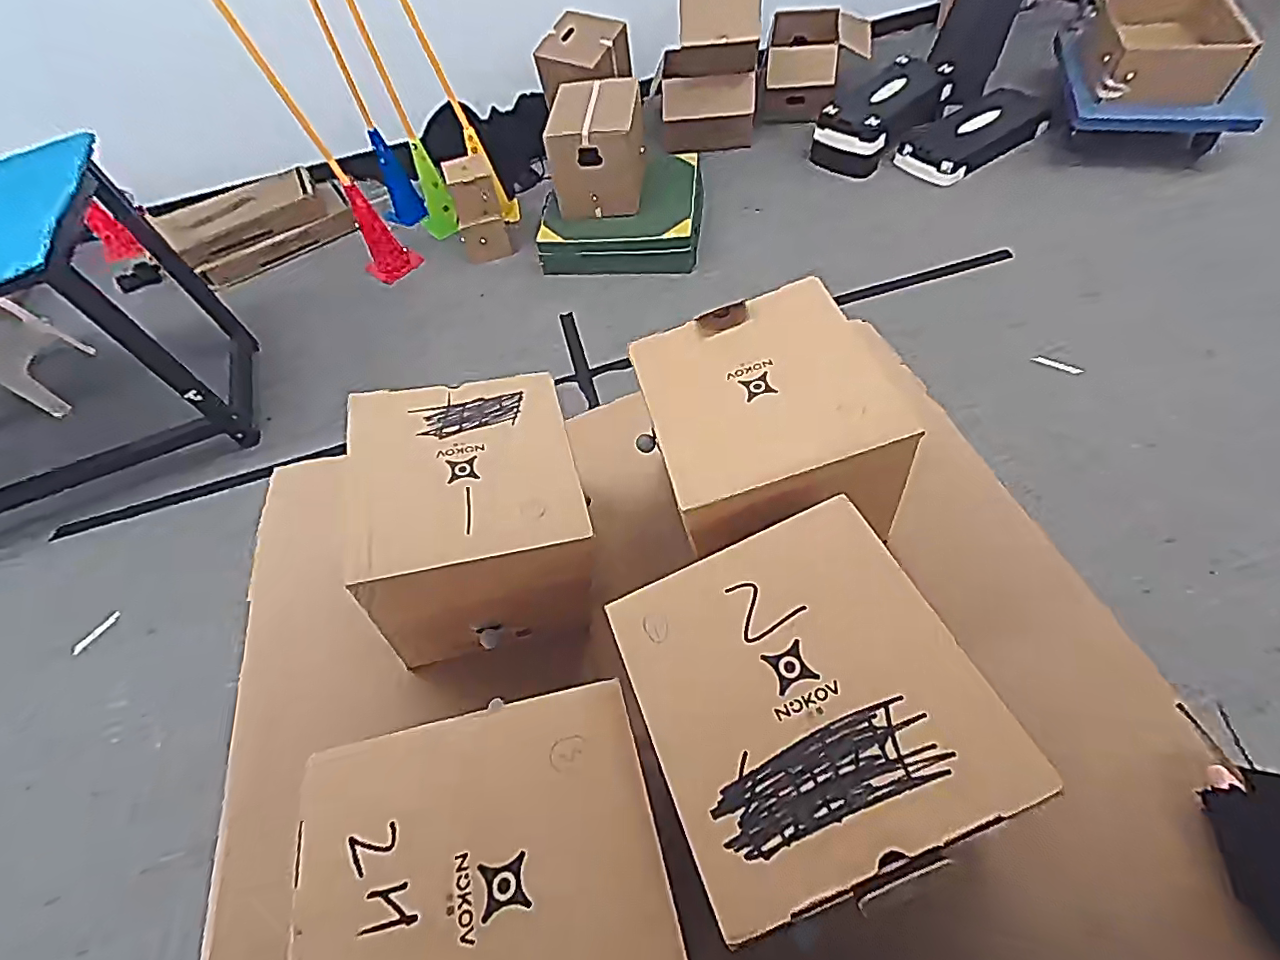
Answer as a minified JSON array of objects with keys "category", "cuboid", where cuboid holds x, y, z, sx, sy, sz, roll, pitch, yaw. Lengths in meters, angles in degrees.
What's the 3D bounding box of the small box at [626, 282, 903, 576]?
[{"category":"small box","cuboid":[0.102,-0.032,0.477,0.168,0.176,0.179,-19,54,4]}]
